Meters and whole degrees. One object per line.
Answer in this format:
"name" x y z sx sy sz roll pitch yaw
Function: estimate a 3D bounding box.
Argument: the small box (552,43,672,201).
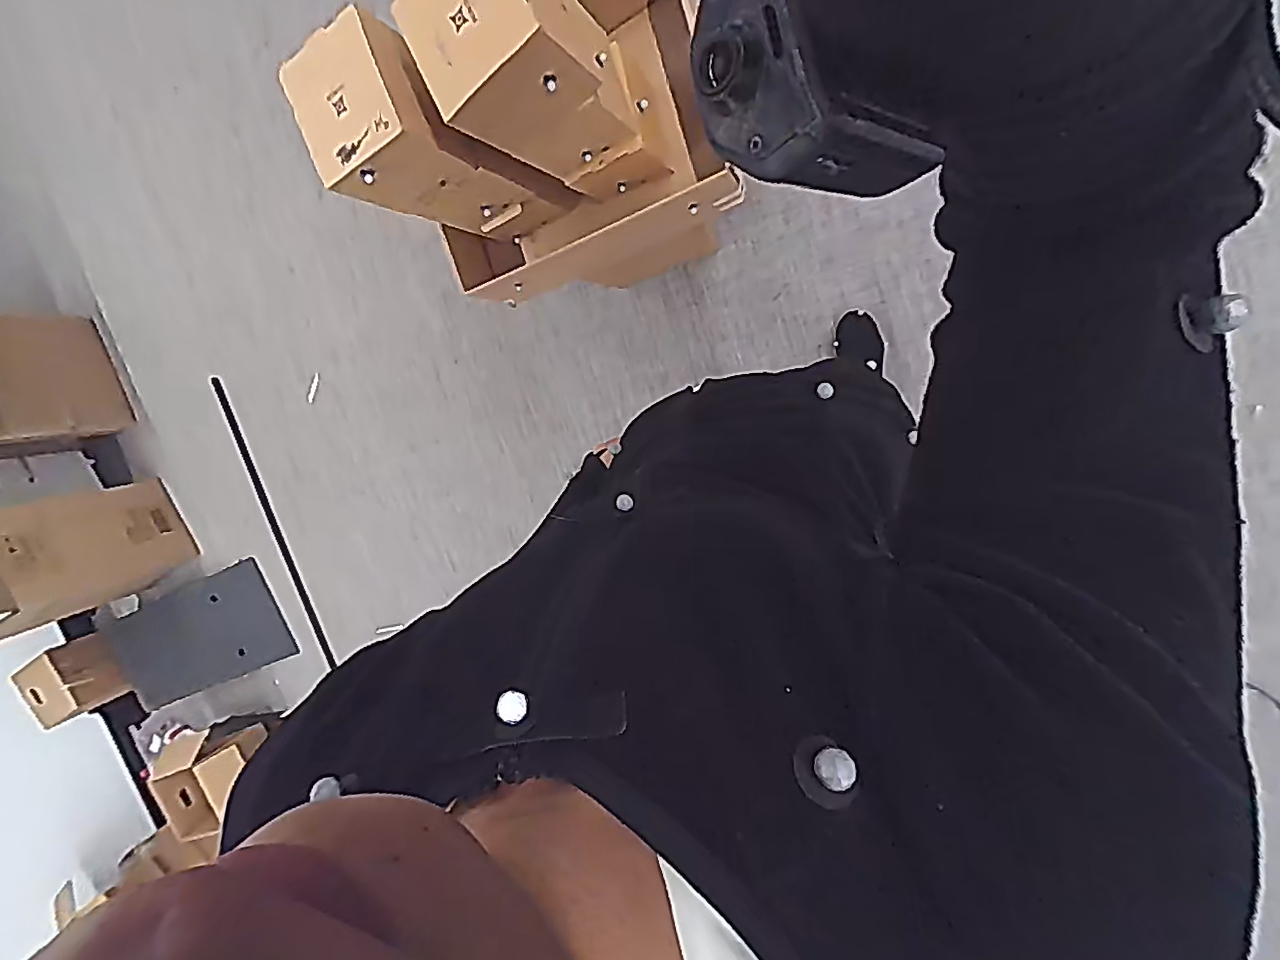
"small box" -0.056 -0.665 1.031 0.168 0.176 0.179 -11 99 26

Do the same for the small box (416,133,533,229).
"small box" -0.324 -0.583 0.973 0.168 0.176 0.179 -17 97 24

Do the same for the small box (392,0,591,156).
"small box" -0.188 -0.590 0.739 0.179 0.176 0.168 -25 92 26

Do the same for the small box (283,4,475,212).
"small box" -0.388 -0.544 0.824 0.168 0.176 0.179 -17 95 25
